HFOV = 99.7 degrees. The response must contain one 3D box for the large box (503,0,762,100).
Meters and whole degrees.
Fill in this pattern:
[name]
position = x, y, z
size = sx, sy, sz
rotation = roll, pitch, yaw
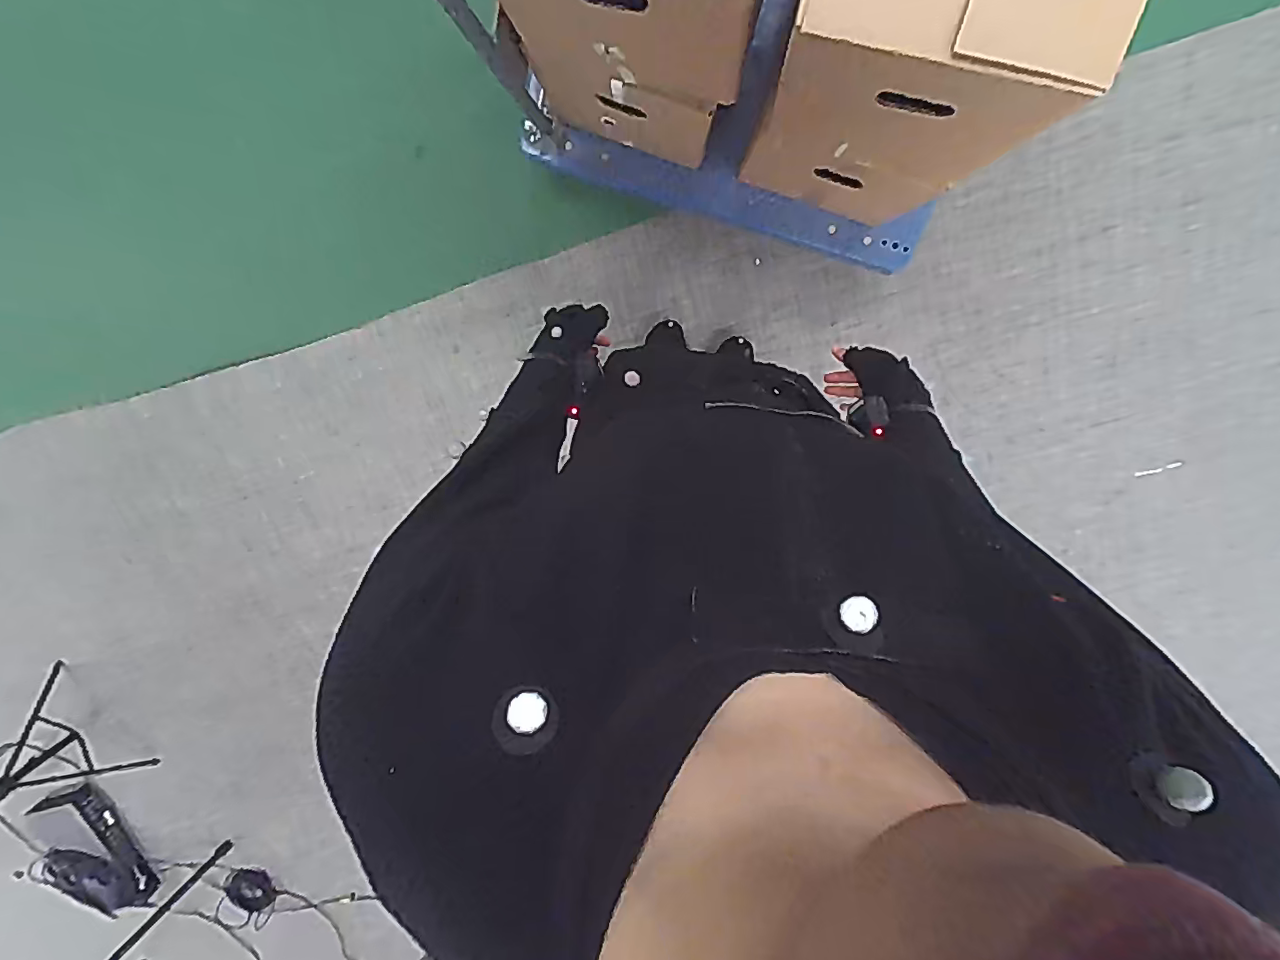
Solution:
[large box]
position = 0.018, -0.737, 0.608
size = 0.320, 0.320, 0.408
rotation = 16, 105, 3
